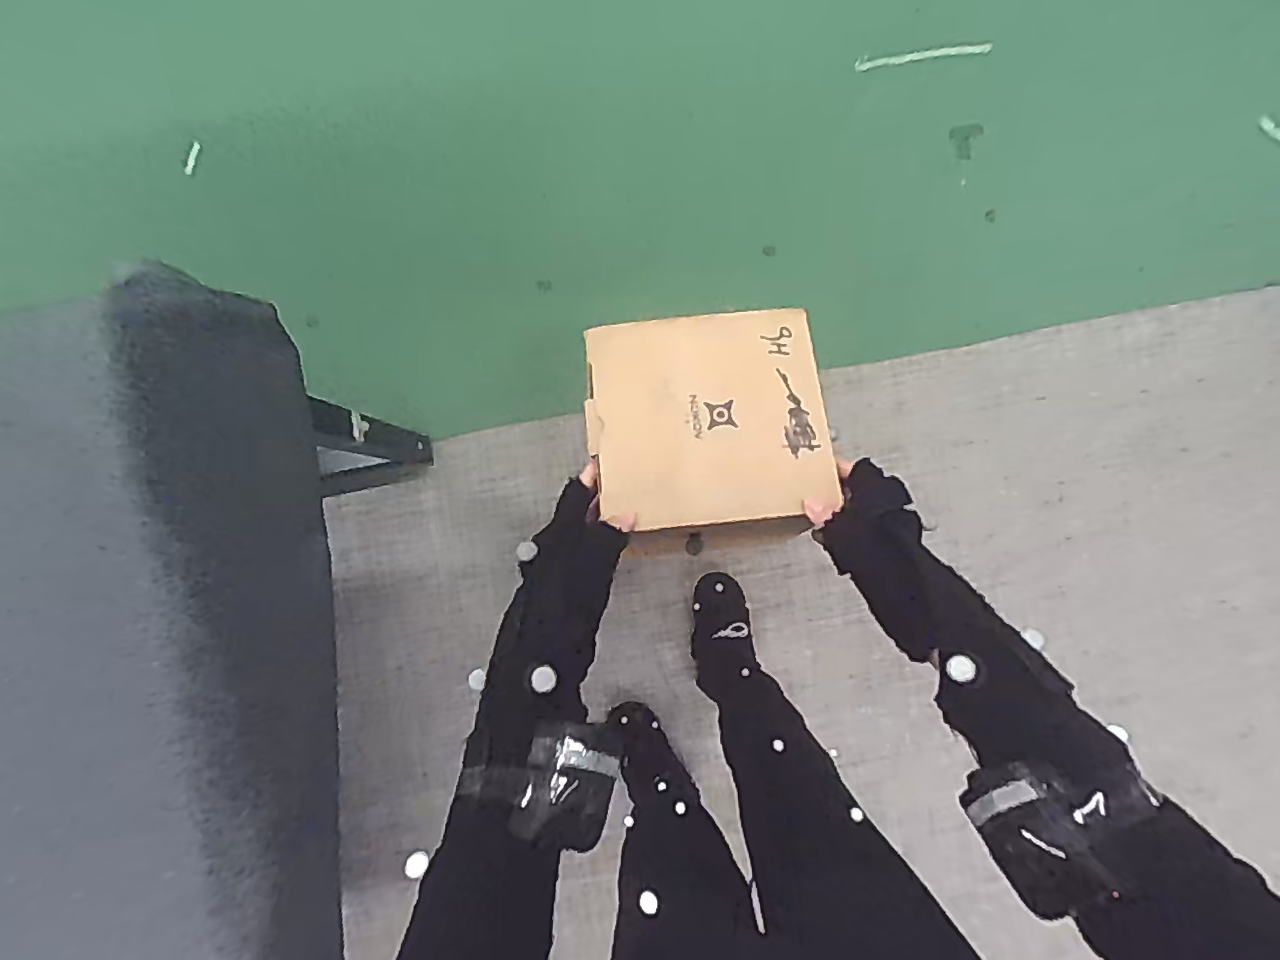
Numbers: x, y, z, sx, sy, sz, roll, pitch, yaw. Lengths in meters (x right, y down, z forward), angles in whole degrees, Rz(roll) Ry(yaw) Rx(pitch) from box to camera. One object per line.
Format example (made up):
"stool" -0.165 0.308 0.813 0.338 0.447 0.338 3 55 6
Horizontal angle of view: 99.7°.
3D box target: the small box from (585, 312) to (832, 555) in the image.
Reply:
"small box" 0.052 -0.028 0.491 0.179 0.176 0.168 -5 75 0
